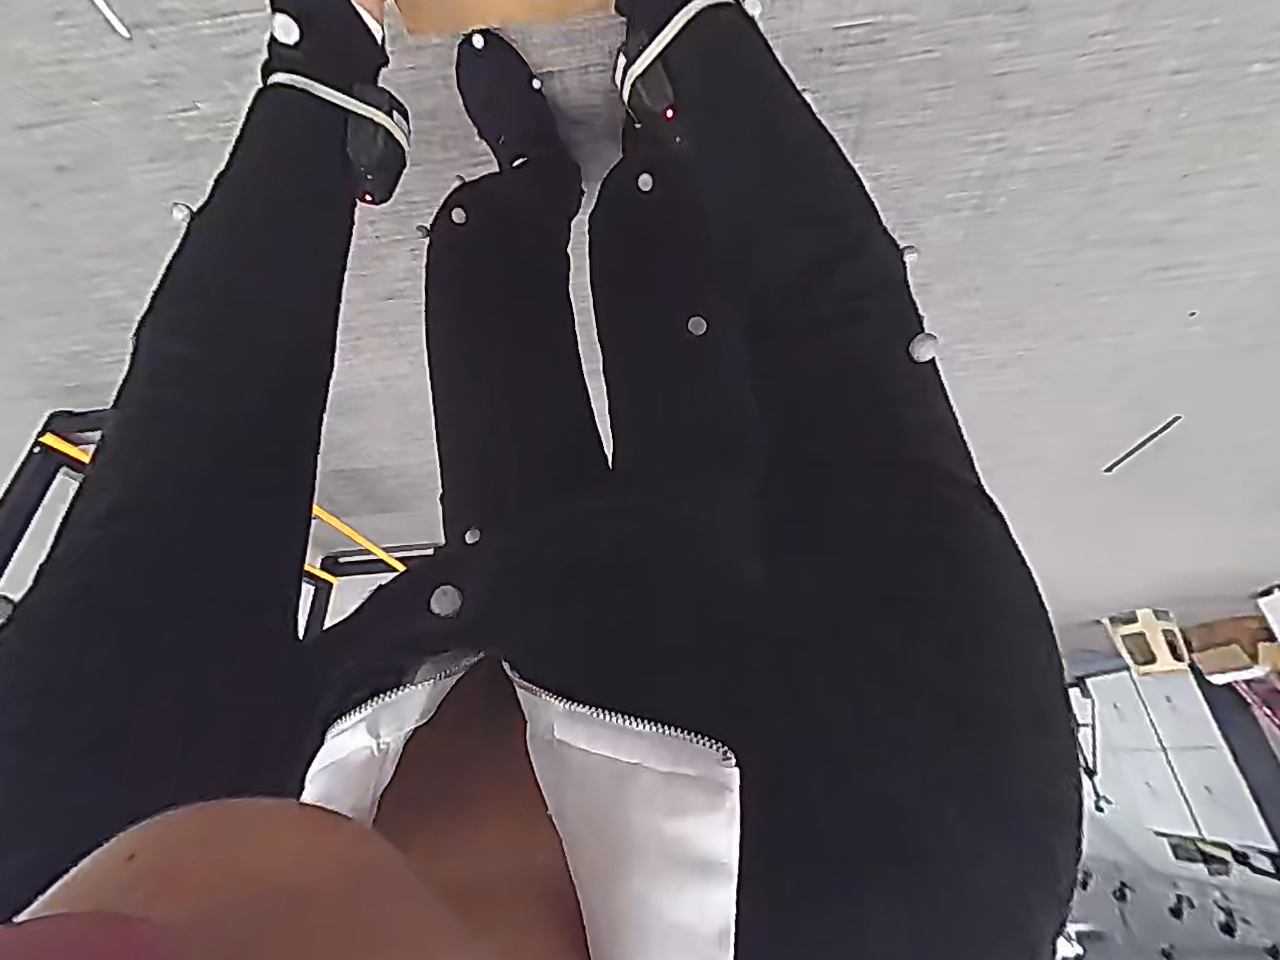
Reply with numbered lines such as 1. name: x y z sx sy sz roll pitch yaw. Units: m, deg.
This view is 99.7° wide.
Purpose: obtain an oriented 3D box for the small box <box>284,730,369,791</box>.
1. small box: -1.039 0.938 1.810 0.179 0.176 0.168 -4 153 1

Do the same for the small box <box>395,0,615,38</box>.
1. small box: -0.117 -0.481 0.406 0.179 0.176 0.168 -7 156 1

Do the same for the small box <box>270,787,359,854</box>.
1. small box: -1.039 1.086 1.738 0.168 0.176 0.179 -3 153 2
